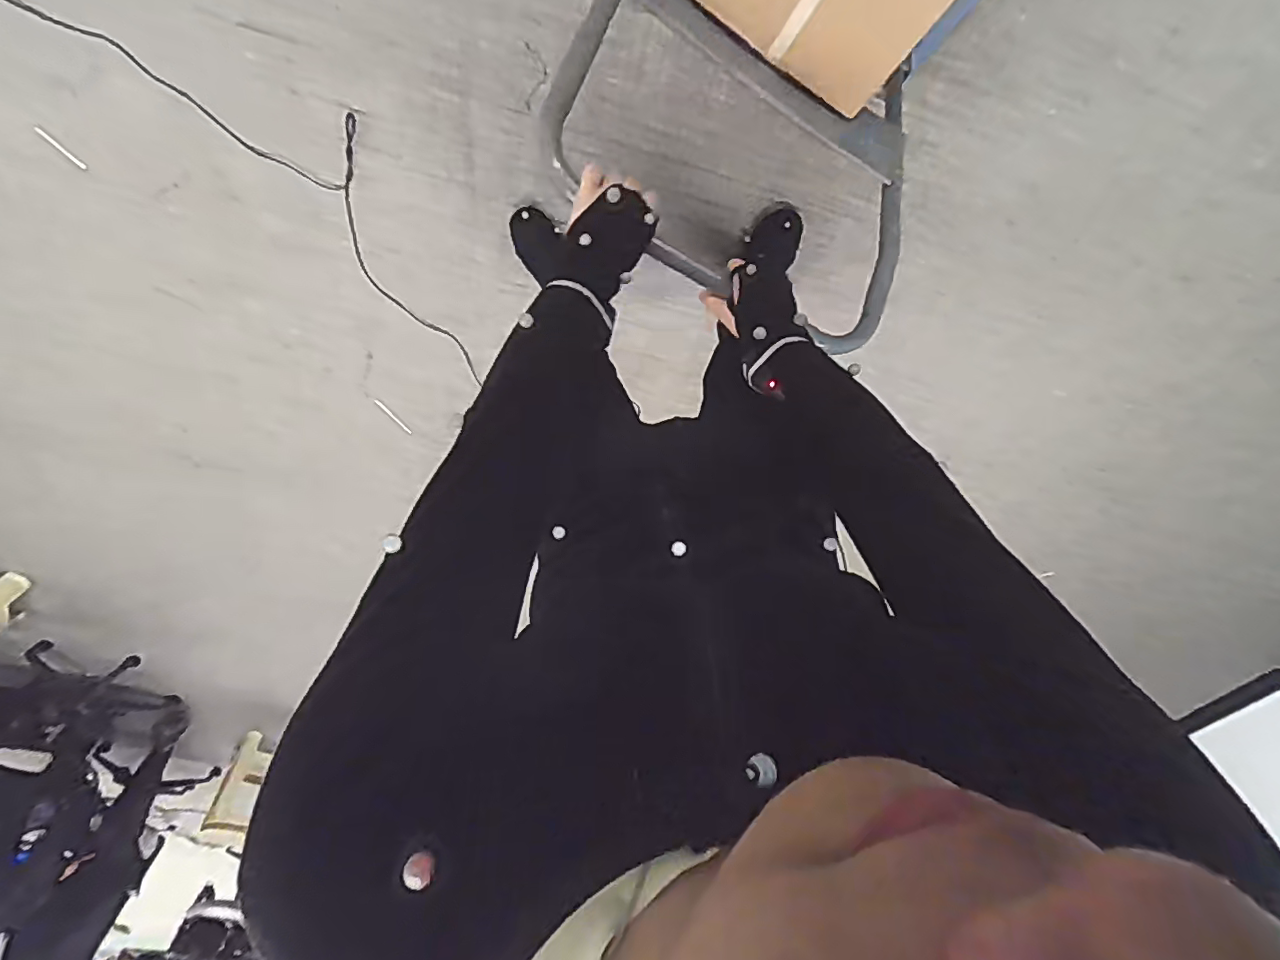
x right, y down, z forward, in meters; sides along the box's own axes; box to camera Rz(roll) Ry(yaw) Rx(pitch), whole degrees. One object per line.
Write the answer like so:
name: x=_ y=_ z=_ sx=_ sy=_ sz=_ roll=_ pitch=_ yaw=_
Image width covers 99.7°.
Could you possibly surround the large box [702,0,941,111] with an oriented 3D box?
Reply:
large box: x=0.304 y=-0.821 z=0.702 sx=0.320 sy=0.320 sz=0.408 roll=24 pitch=148 yaw=-18
